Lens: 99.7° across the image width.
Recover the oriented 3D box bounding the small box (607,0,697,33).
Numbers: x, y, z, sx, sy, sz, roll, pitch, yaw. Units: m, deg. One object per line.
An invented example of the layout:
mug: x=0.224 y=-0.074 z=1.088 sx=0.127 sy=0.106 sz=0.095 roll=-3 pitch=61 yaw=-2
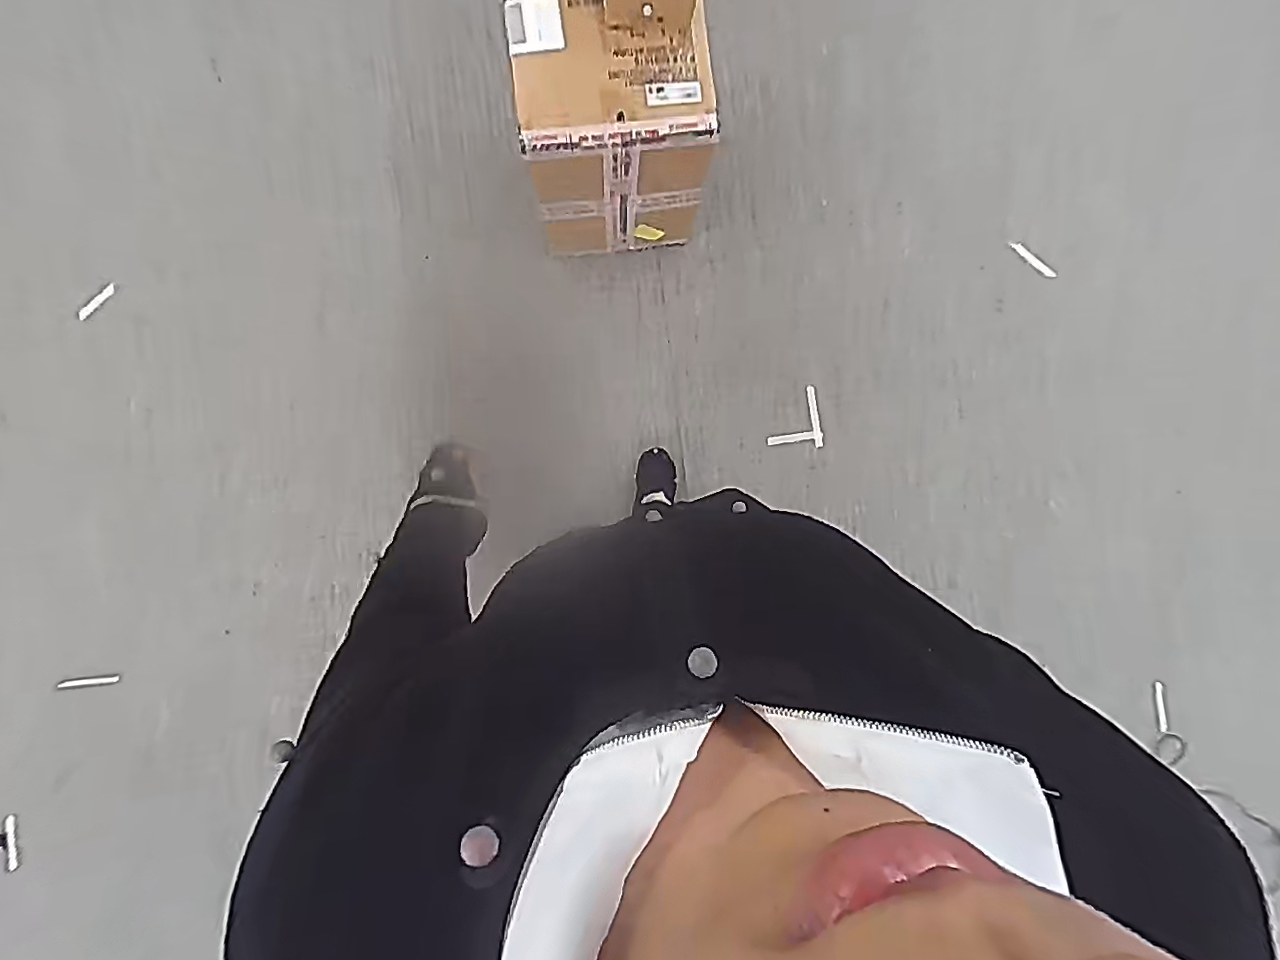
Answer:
small box: x=0.025 y=-0.947 z=0.953 sx=0.168 sy=0.176 sz=0.179 roll=0 pitch=91 yaw=-5
